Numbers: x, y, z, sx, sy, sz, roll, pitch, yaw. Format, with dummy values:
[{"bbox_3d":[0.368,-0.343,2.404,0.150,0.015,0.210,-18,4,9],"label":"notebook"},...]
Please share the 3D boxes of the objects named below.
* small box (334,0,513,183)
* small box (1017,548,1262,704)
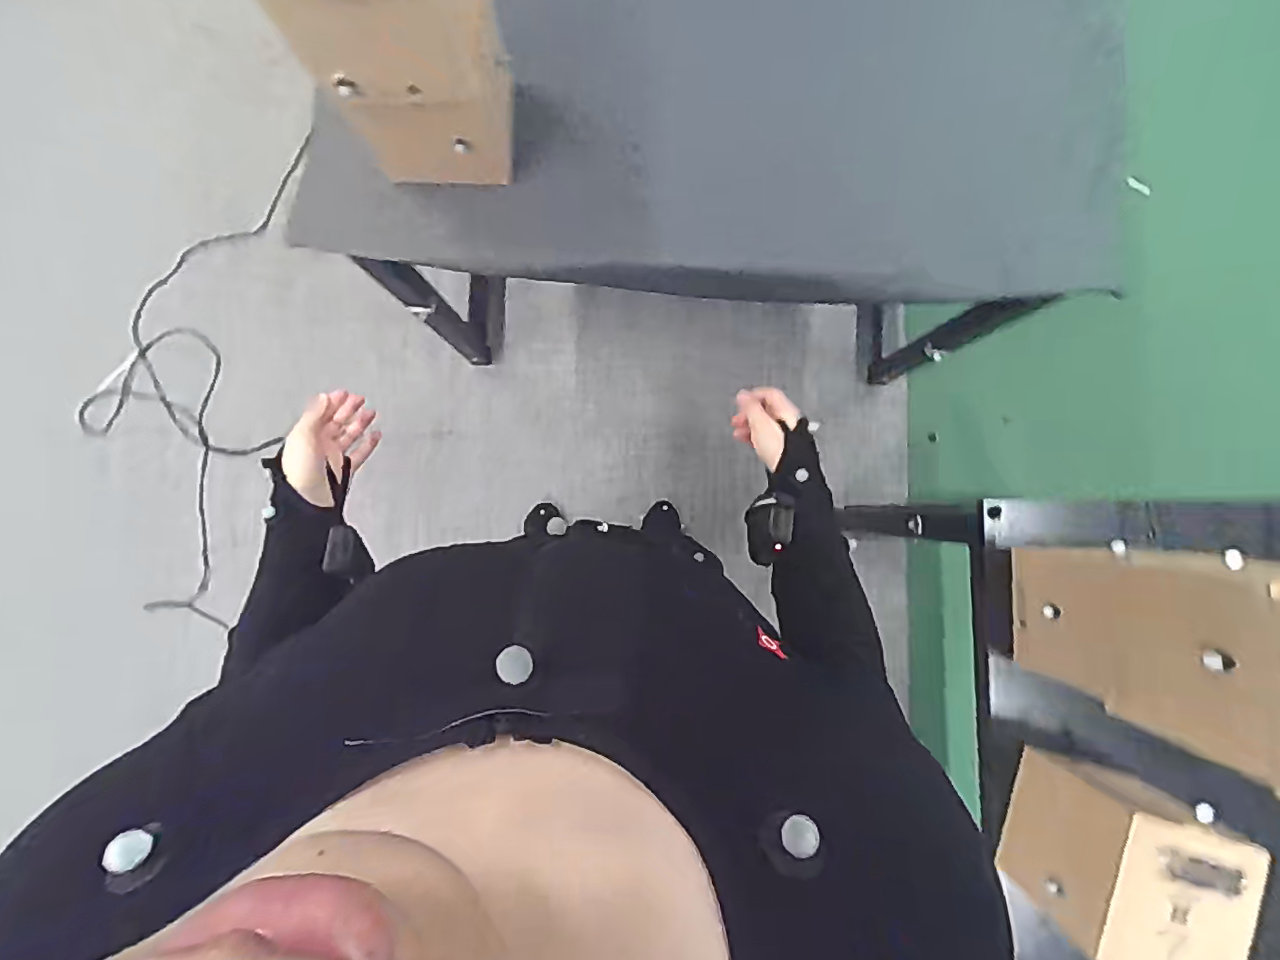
[{"bbox_3d":[-0.271,-0.522,0.718,0.179,0.176,0.168,1,85,0],"label":"small box"},{"bbox_3d":[0.621,0.180,0.694,0.179,0.176,0.168,1,89,-1],"label":"small box"}]
